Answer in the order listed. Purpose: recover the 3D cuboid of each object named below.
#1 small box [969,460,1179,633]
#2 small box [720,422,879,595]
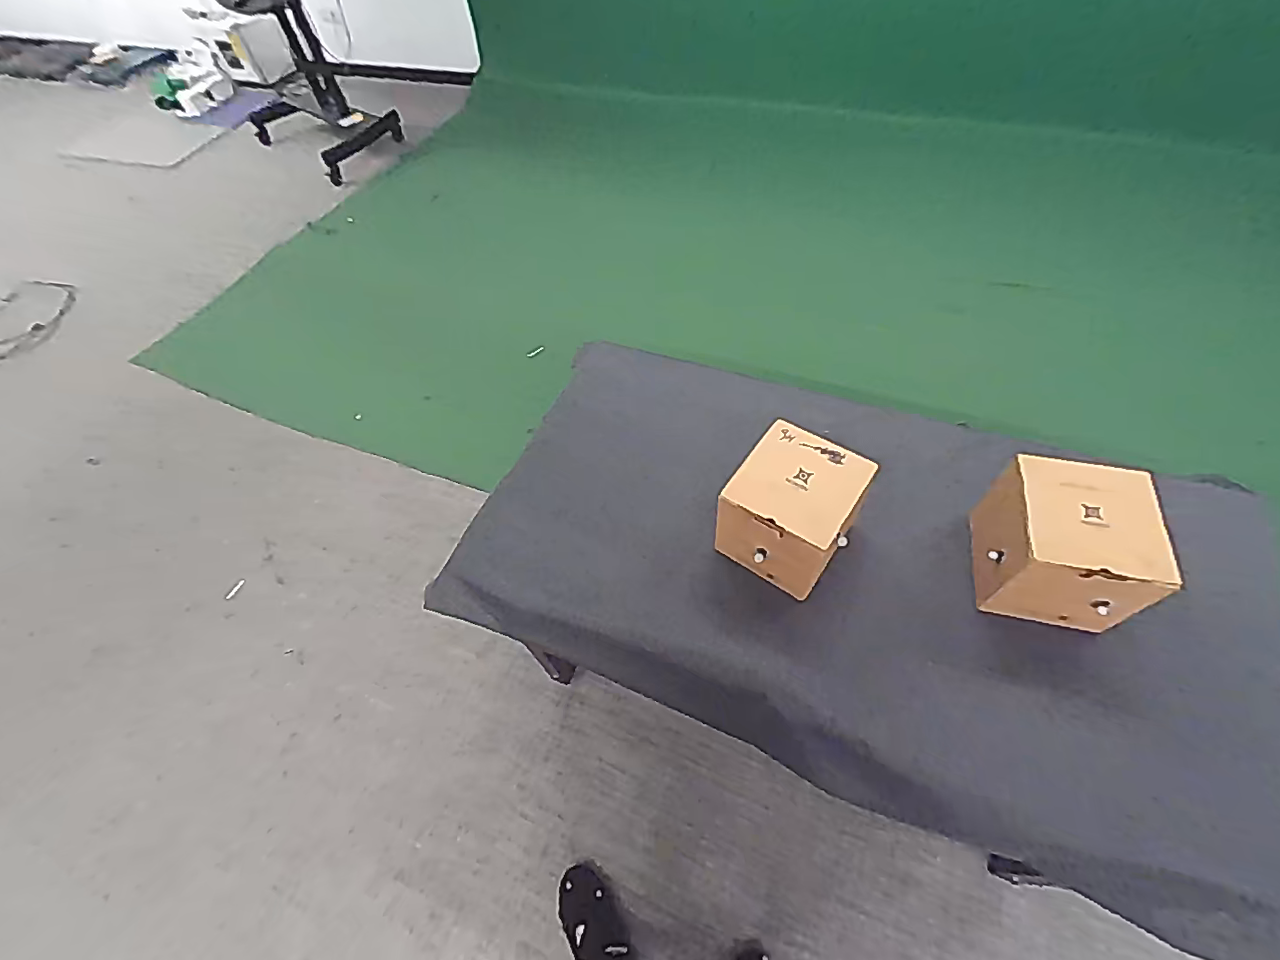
[{"bbox_3d":[0.601,0.100,0.780,0.168,0.176,0.179,11,56,11],"label":"small box"},{"bbox_3d":[0.239,0.049,0.844,0.168,0.176,0.179,31,63,23],"label":"small box"}]
